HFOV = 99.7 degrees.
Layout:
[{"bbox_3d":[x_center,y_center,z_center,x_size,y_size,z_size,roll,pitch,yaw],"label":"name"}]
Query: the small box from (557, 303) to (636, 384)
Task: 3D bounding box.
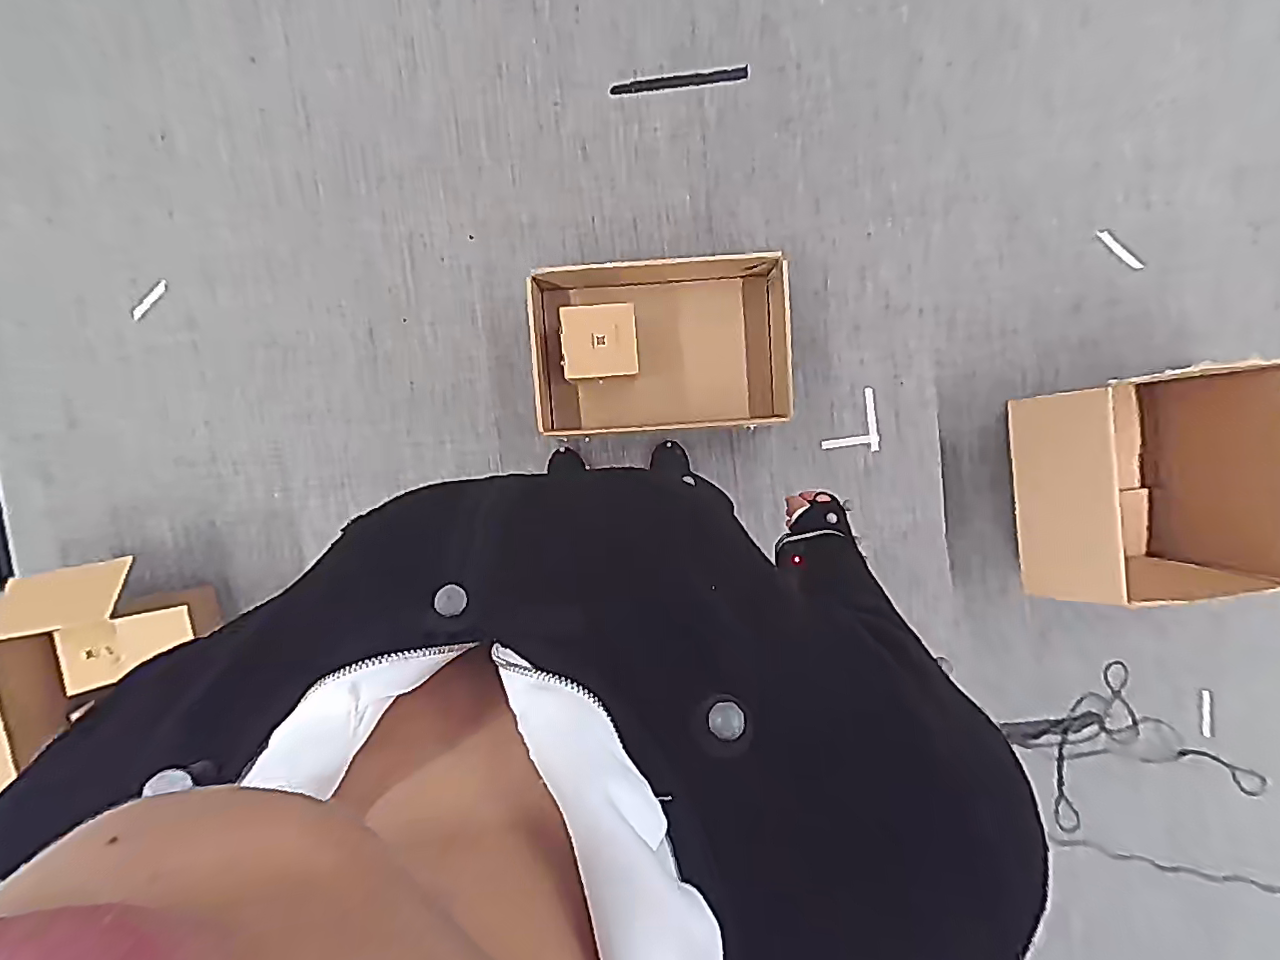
[{"bbox_3d":[-0.102,-0.331,1.339,0.179,0.176,0.168,-5,96,-2],"label":"small box"}]
